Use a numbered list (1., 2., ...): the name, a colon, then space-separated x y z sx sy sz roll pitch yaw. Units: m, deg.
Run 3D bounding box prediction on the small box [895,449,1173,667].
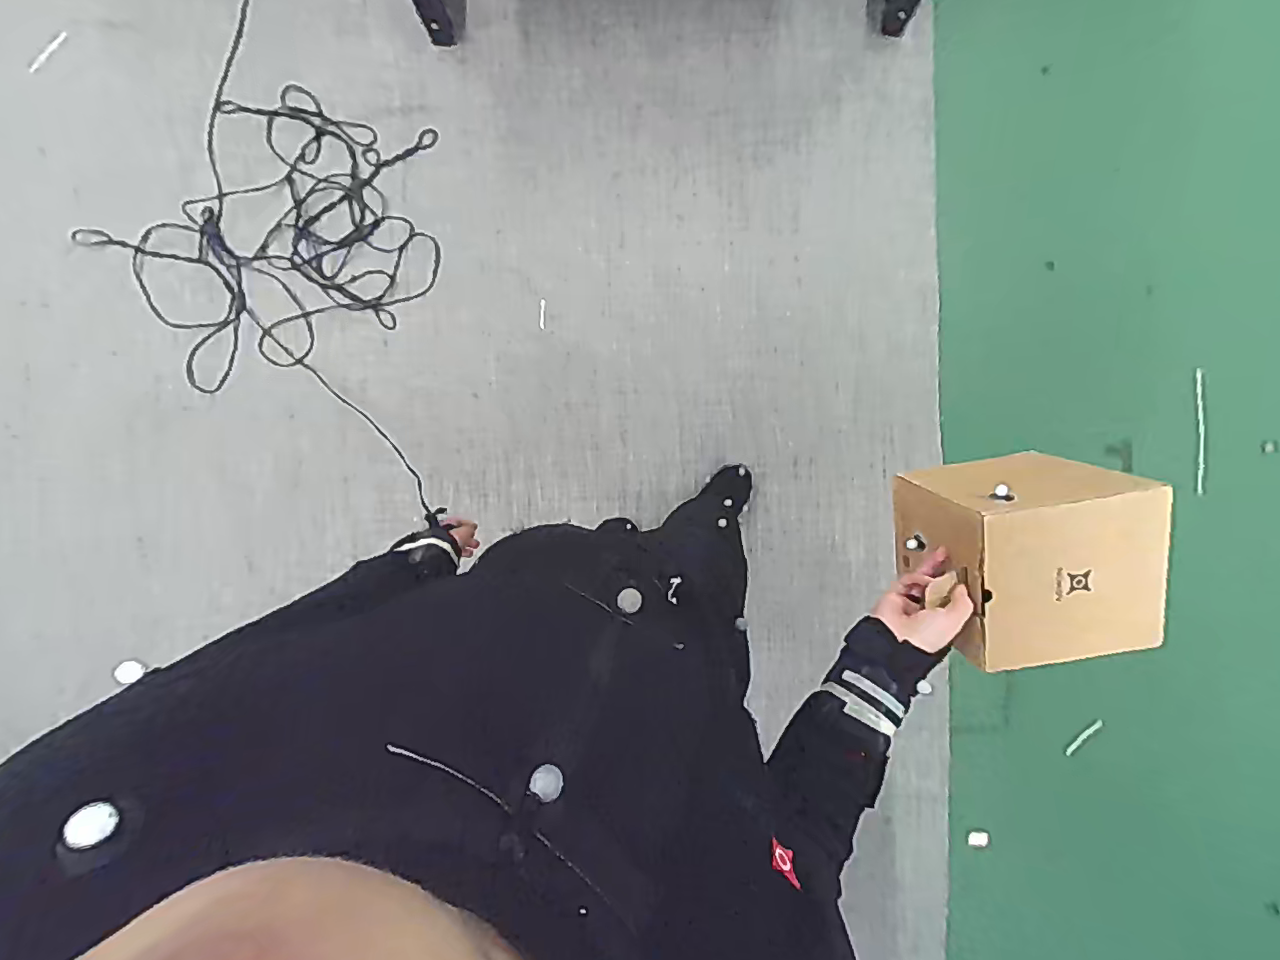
1. small box: 0.404 0.071 0.582 0.179 0.176 0.168 -10 103 1
